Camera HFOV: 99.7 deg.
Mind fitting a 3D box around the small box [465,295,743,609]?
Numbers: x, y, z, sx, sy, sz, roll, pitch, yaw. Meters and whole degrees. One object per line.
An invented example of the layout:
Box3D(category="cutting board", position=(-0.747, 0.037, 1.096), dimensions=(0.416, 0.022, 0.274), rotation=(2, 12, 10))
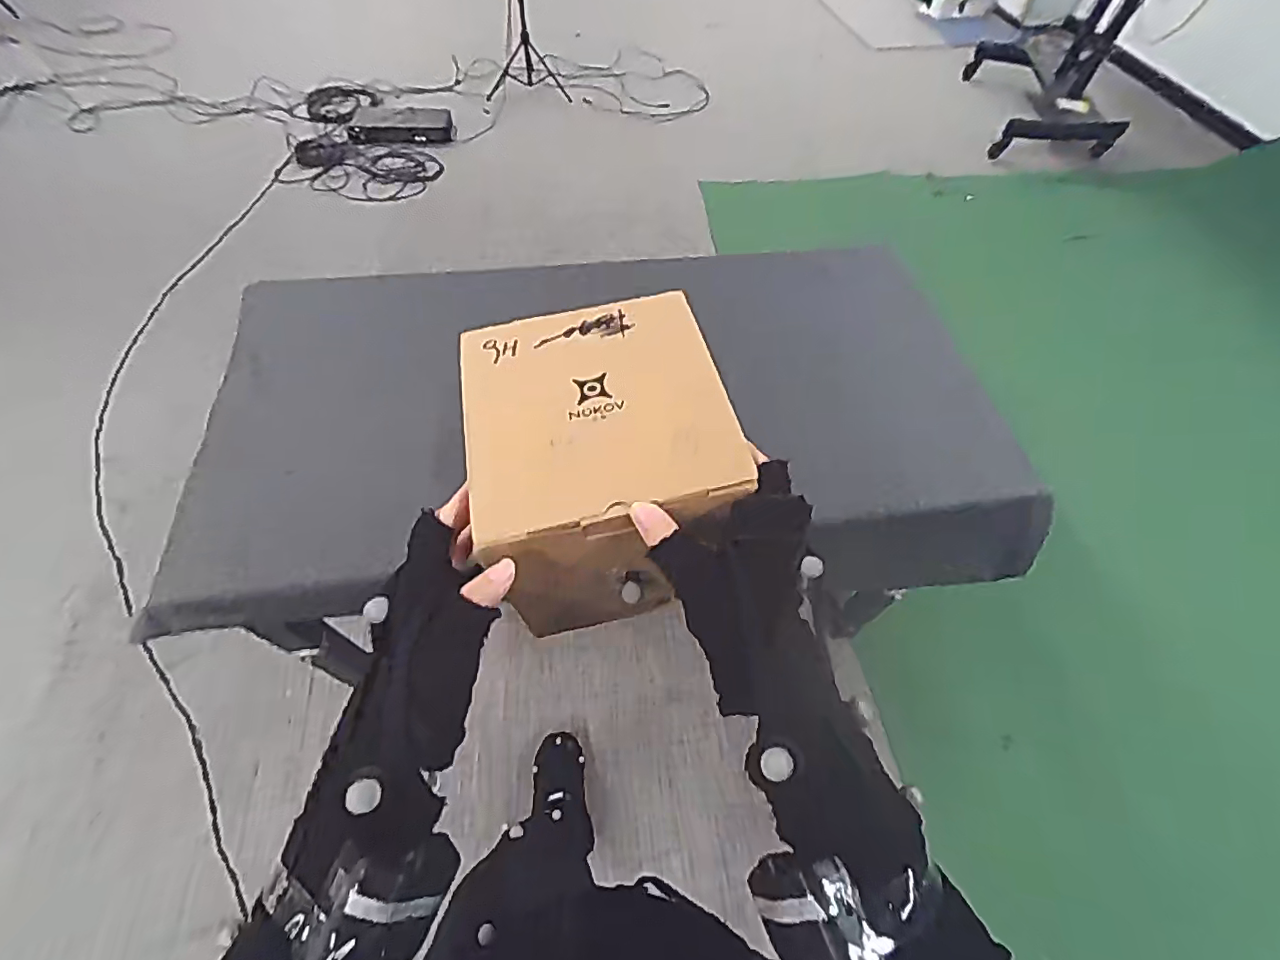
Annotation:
Box3D(category="small box", position=(-0.028, -0.010, 0.428), dimensions=(0.168, 0.176, 0.179), rotation=(-12, 58, -4))
